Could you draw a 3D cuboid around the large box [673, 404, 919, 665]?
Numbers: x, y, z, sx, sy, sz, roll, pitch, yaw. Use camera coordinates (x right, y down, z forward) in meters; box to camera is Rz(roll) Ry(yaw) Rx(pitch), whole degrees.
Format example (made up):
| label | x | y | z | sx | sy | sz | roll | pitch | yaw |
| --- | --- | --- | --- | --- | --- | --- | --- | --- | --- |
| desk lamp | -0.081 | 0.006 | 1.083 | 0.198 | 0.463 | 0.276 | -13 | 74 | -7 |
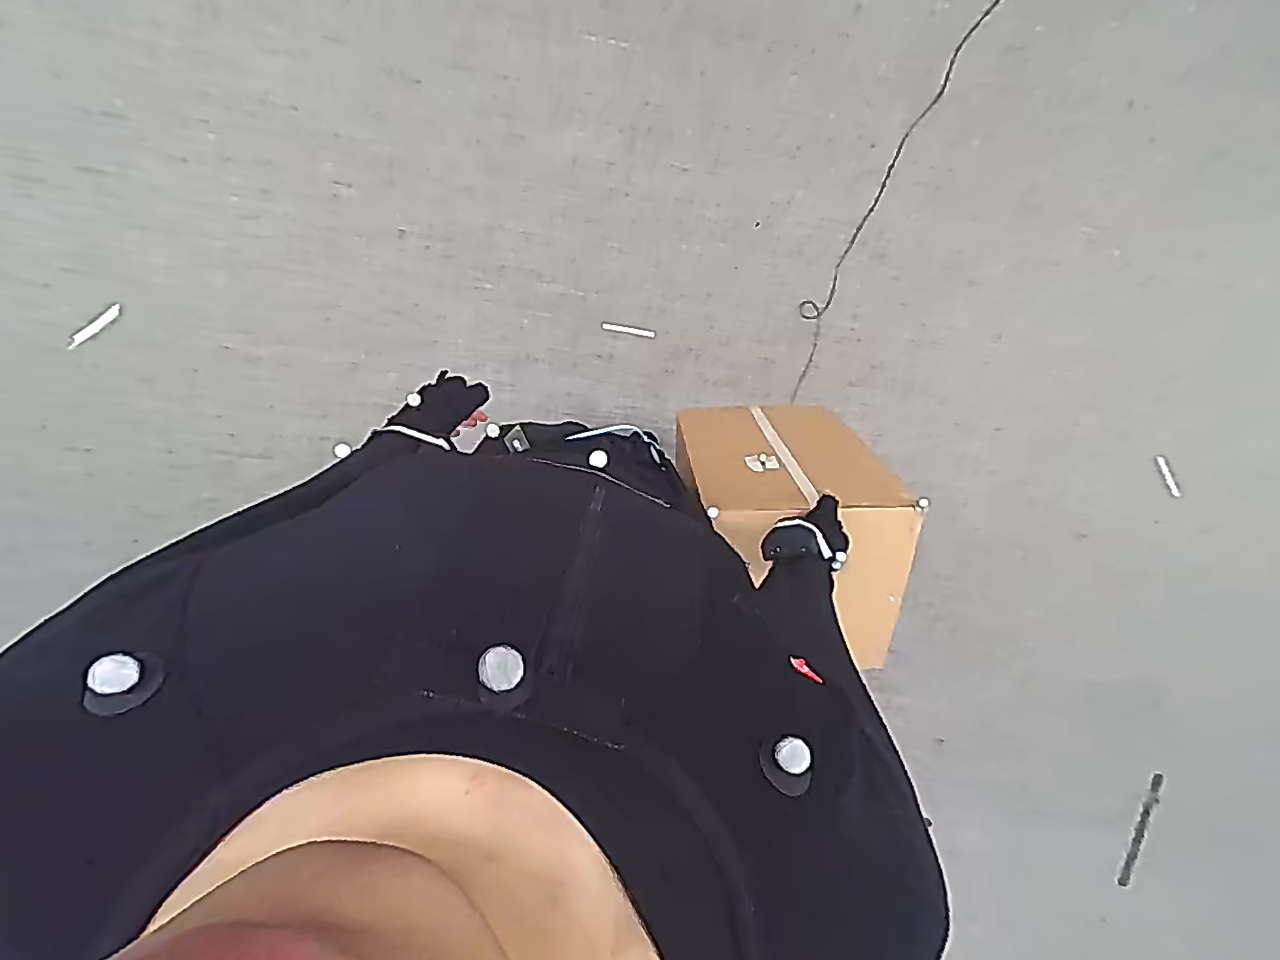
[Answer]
| label | x | y | z | sx | sy | sz | roll | pitch | yaw |
| --- | --- | --- | --- | --- | --- | --- | --- | --- | --- |
| large box | 0.236 | 0.079 | 1.005 | 0.320 | 0.408 | 0.320 | -2 | 120 | -1 |
